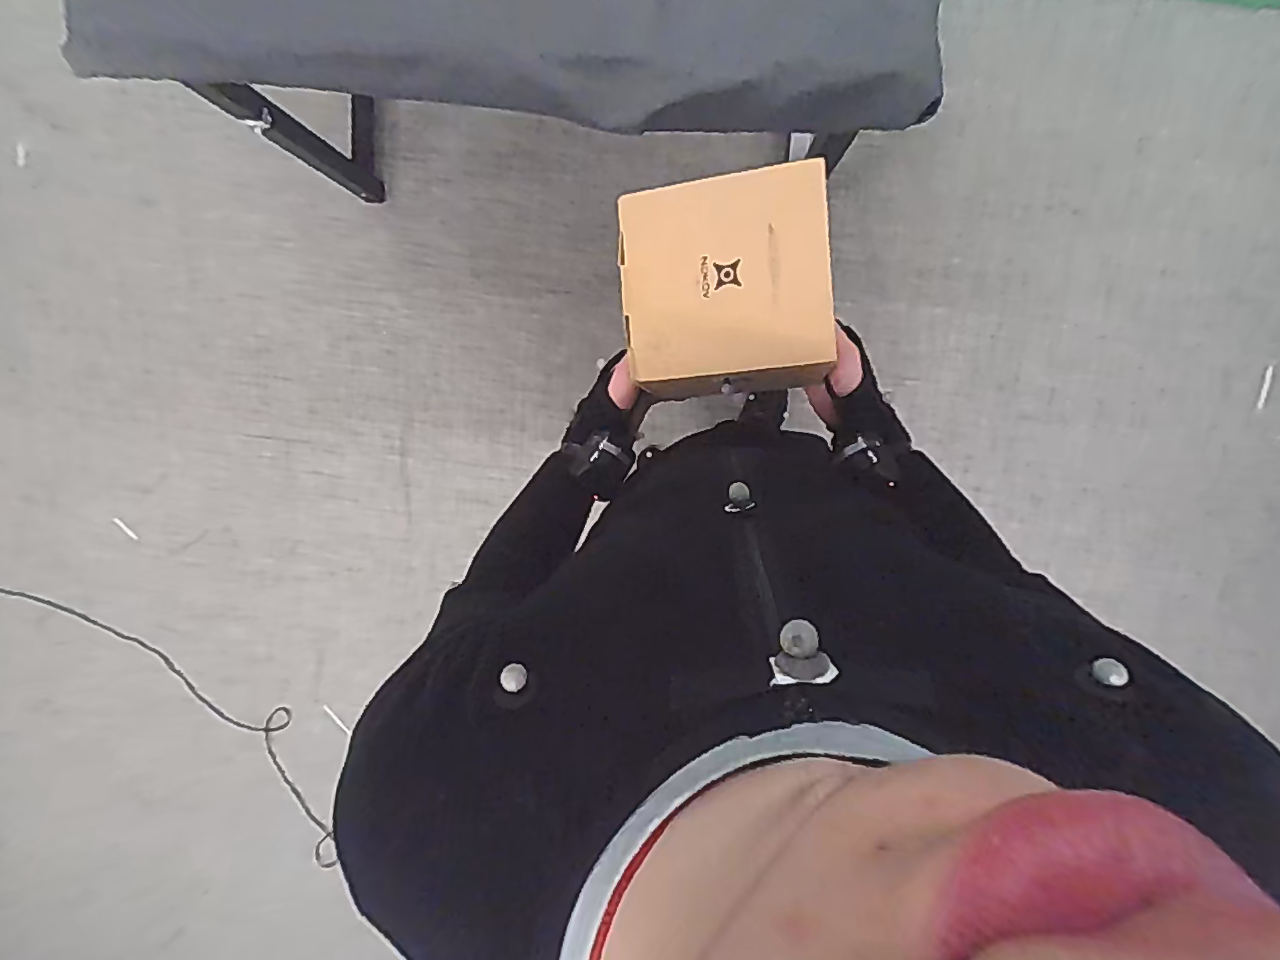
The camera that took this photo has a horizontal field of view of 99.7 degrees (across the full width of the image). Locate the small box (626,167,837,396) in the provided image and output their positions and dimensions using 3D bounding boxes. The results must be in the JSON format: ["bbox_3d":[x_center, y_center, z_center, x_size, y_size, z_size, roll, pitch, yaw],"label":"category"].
[{"bbox_3d":[0.093,-0.179,0.548,0.179,0.176,0.168,-4,93,11],"label":"small box"}]
